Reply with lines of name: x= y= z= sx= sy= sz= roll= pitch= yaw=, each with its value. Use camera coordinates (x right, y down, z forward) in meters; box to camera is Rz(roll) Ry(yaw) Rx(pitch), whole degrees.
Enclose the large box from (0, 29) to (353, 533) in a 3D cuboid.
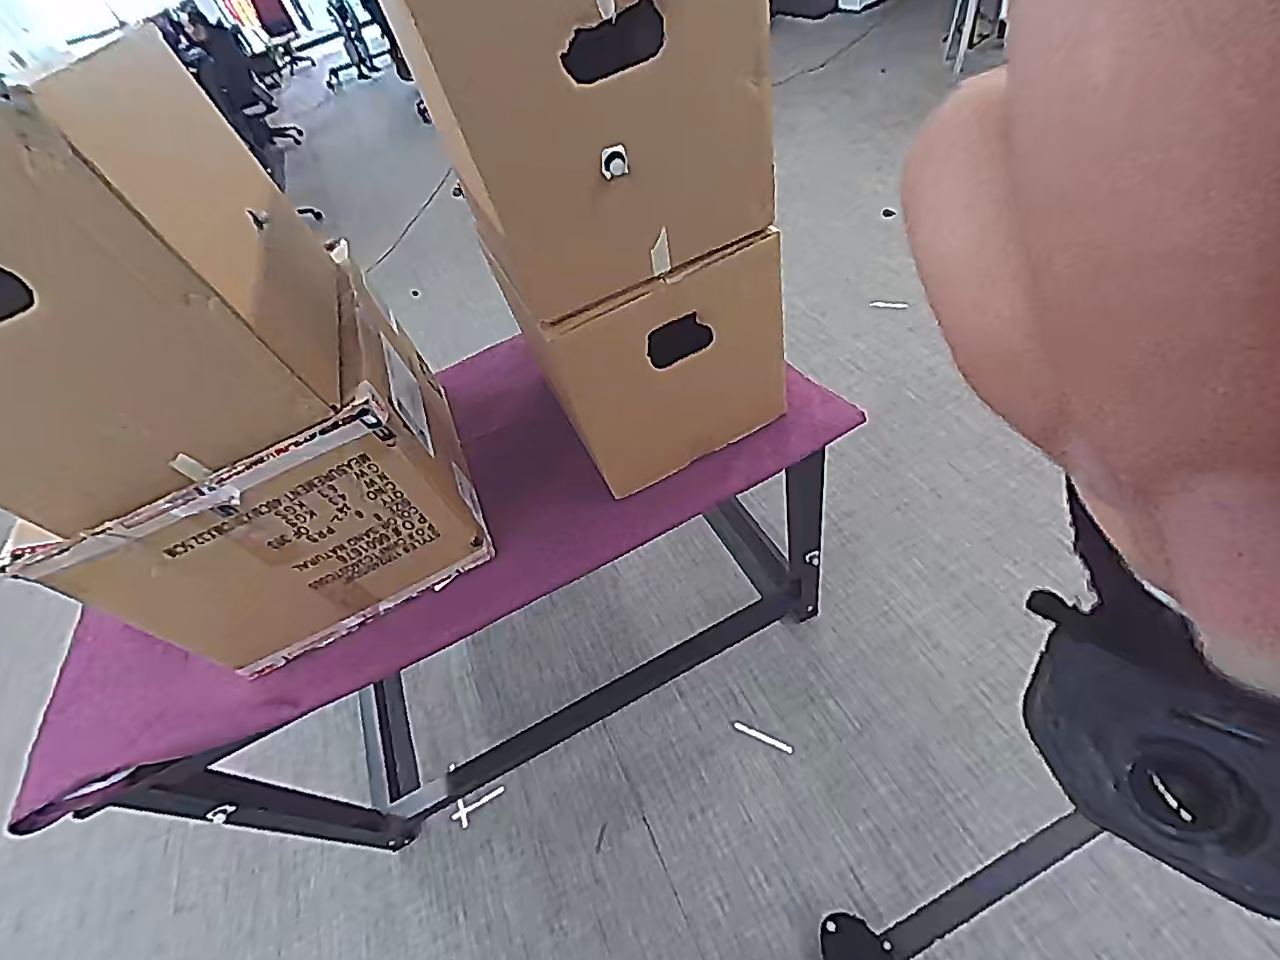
large box: x=-0.560 y=-0.225 z=0.591 sx=0.320 sy=0.320 sz=0.408 roll=-29 pitch=50 yaw=-3
